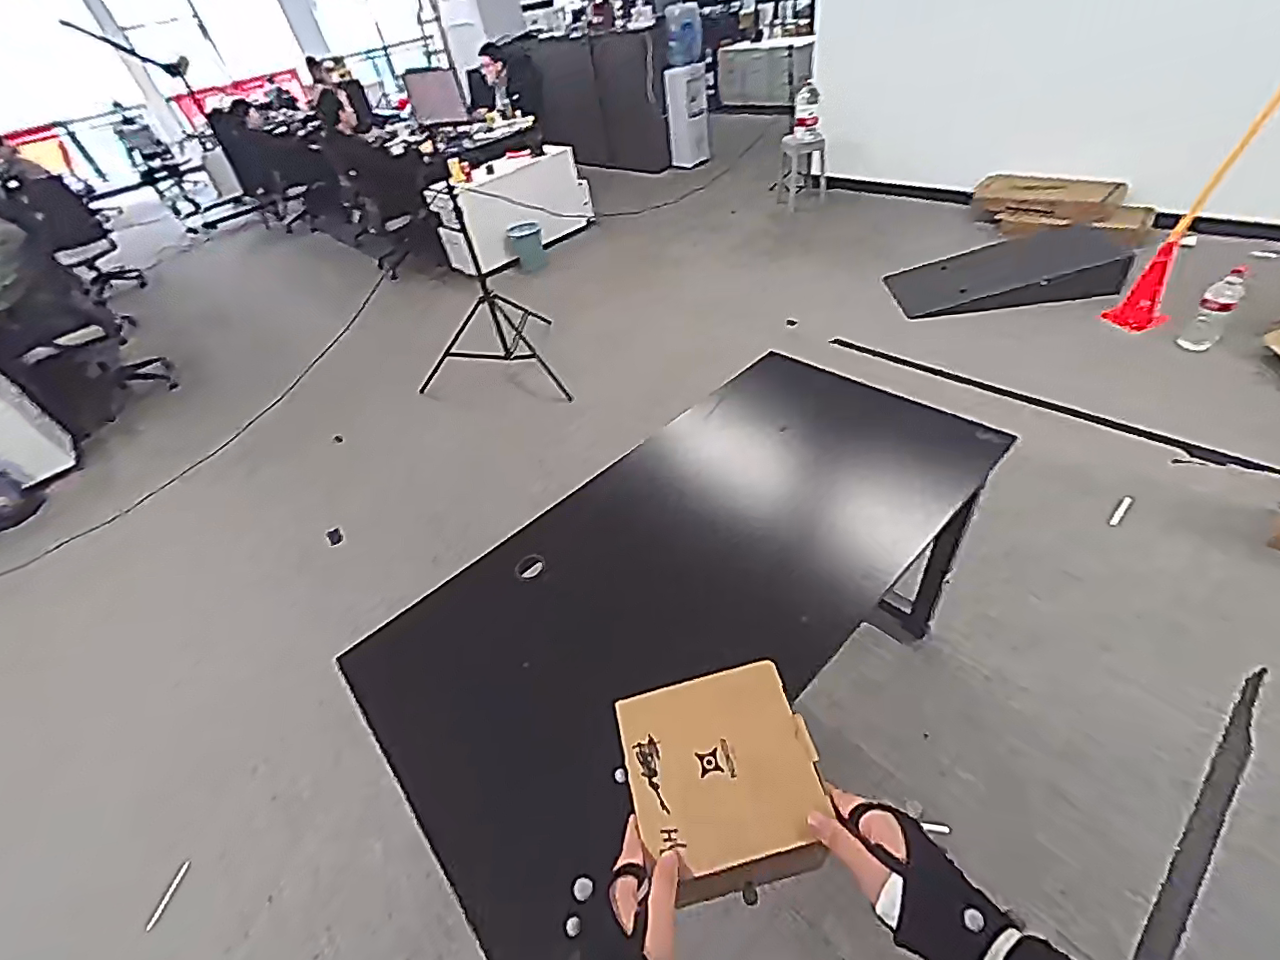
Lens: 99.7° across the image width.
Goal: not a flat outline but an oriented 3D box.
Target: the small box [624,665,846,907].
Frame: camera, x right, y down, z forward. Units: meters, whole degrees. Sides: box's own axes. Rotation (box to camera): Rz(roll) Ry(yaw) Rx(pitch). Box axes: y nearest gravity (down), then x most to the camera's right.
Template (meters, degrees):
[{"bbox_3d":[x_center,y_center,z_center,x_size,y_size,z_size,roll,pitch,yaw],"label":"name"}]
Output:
[{"bbox_3d":[0.088,0.326,0.574,0.179,0.176,0.168,-12,45,-4],"label":"small box"}]

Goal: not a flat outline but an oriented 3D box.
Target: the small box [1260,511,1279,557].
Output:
[{"bbox_3d":[1.952,0.145,1.545,0.168,0.176,0.179,-37,49,-24],"label":"small box"}]
